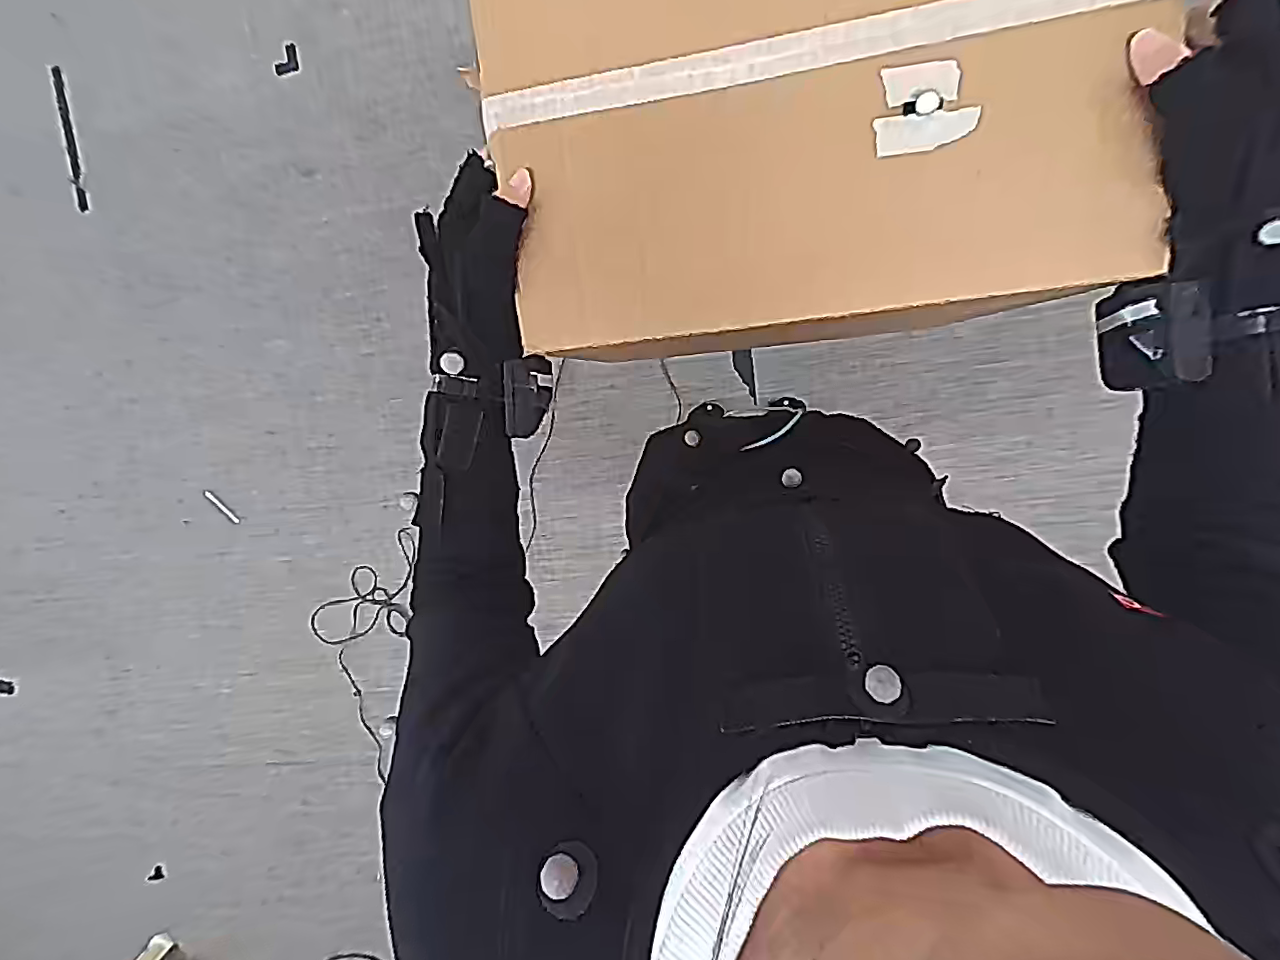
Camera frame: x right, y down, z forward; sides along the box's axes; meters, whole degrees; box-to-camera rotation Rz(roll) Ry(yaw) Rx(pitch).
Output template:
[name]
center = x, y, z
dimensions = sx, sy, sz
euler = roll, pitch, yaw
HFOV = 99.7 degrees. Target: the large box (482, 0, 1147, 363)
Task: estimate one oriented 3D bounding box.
[large box]
center = 0.116, -0.292, 0.489
dimensions = 0.408, 0.320, 0.320
euler = -5, 100, 8
